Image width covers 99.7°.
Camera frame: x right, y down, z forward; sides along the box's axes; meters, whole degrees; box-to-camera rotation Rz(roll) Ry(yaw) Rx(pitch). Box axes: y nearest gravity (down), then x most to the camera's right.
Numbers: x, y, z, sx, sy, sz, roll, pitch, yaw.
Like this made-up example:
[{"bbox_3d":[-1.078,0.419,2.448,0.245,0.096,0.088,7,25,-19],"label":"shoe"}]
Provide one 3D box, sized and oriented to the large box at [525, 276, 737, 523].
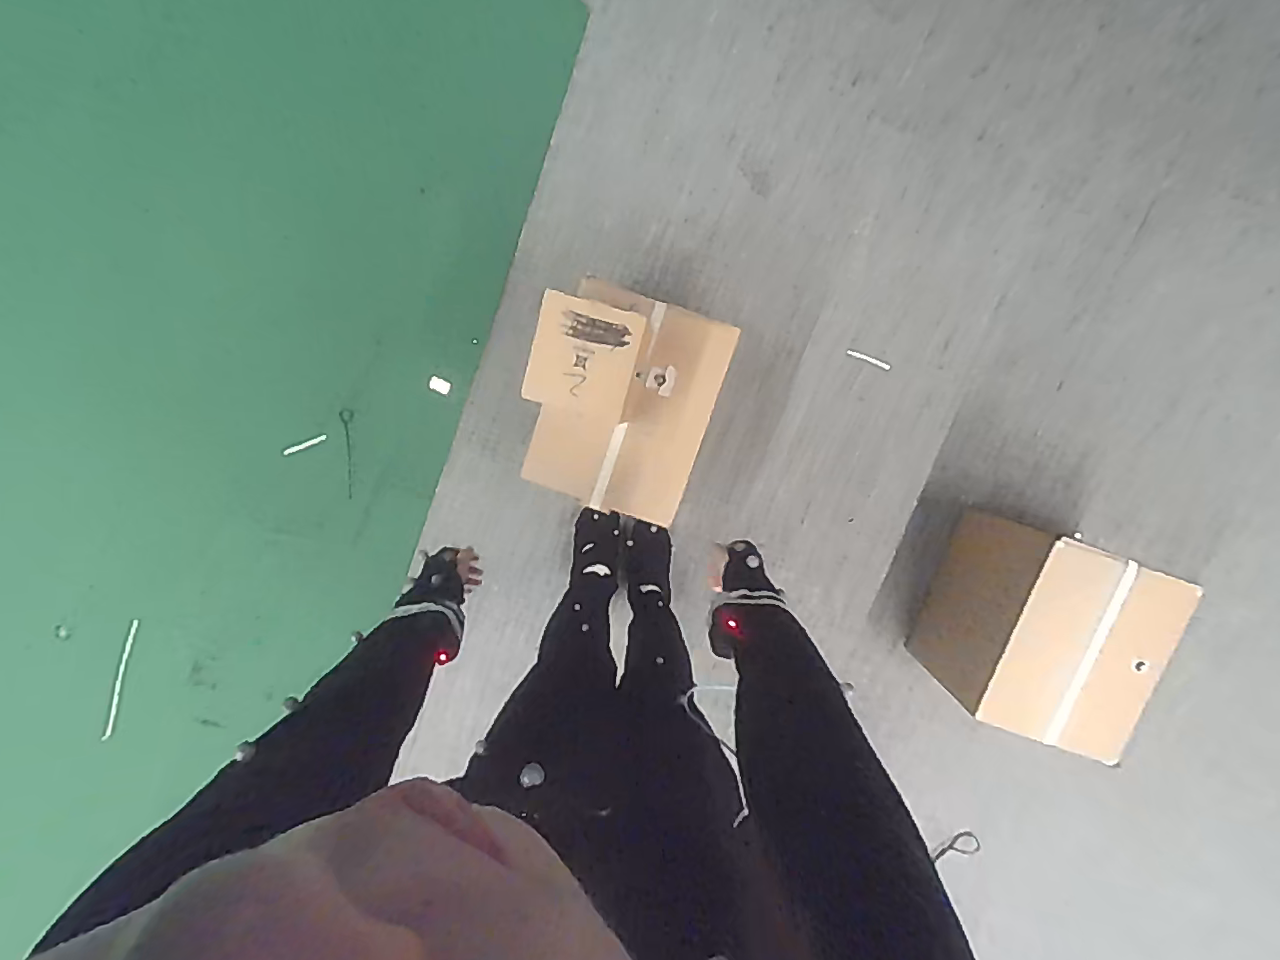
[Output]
[{"bbox_3d":[-0.017,-0.163,1.175,0.320,0.320,0.408,19,98,-1],"label":"large box"}]
